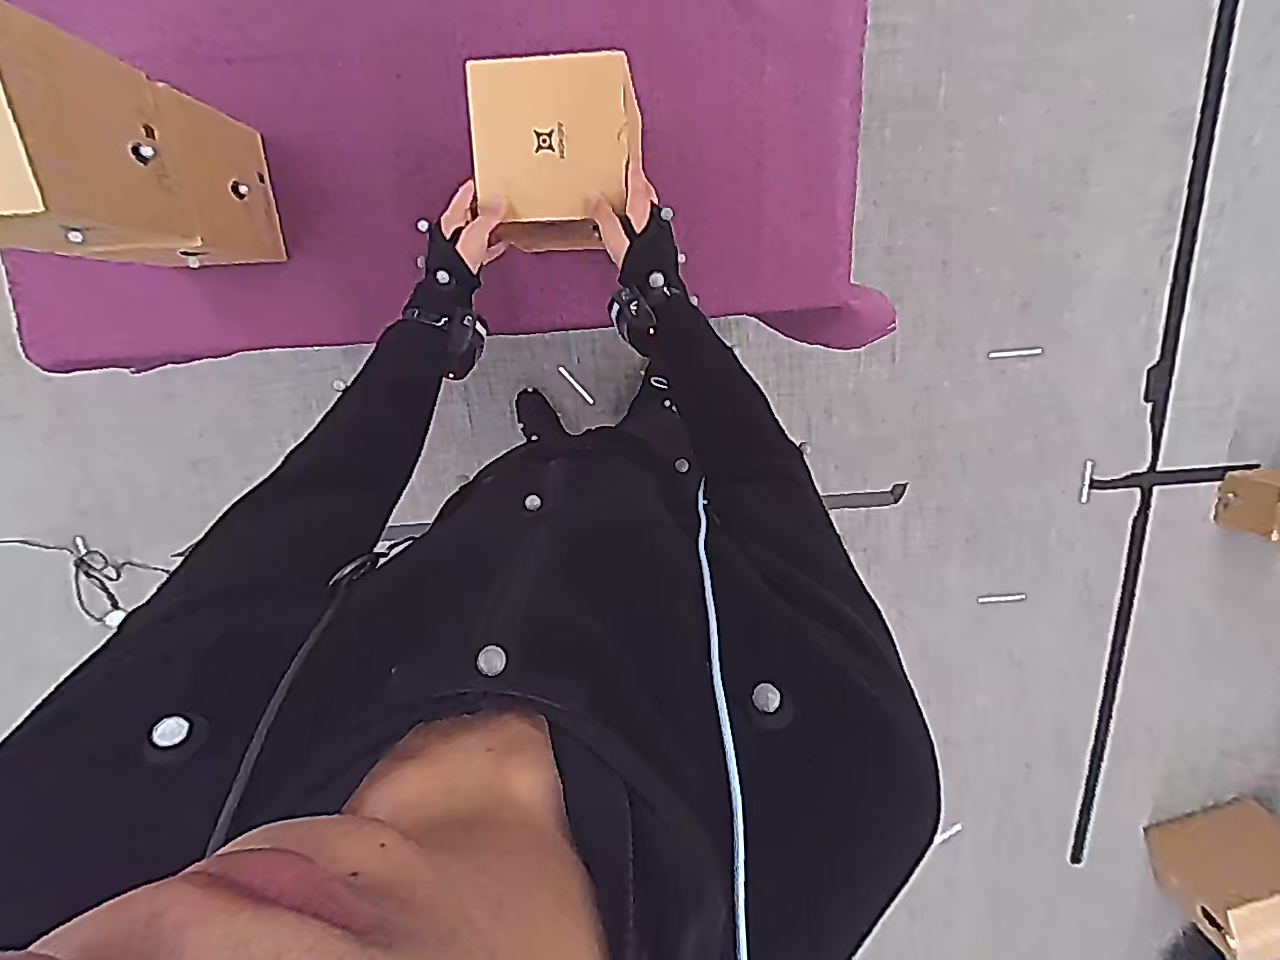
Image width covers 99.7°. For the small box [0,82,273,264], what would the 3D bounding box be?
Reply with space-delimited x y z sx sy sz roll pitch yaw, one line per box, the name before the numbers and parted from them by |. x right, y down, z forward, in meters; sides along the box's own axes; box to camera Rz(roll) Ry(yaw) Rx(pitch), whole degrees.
small box | -0.596 -0.366 0.672 0.179 0.176 0.168 -3 107 -1

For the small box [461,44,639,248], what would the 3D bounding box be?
small box | -0.097 -0.391 0.665 0.179 0.176 0.168 -1 103 5
